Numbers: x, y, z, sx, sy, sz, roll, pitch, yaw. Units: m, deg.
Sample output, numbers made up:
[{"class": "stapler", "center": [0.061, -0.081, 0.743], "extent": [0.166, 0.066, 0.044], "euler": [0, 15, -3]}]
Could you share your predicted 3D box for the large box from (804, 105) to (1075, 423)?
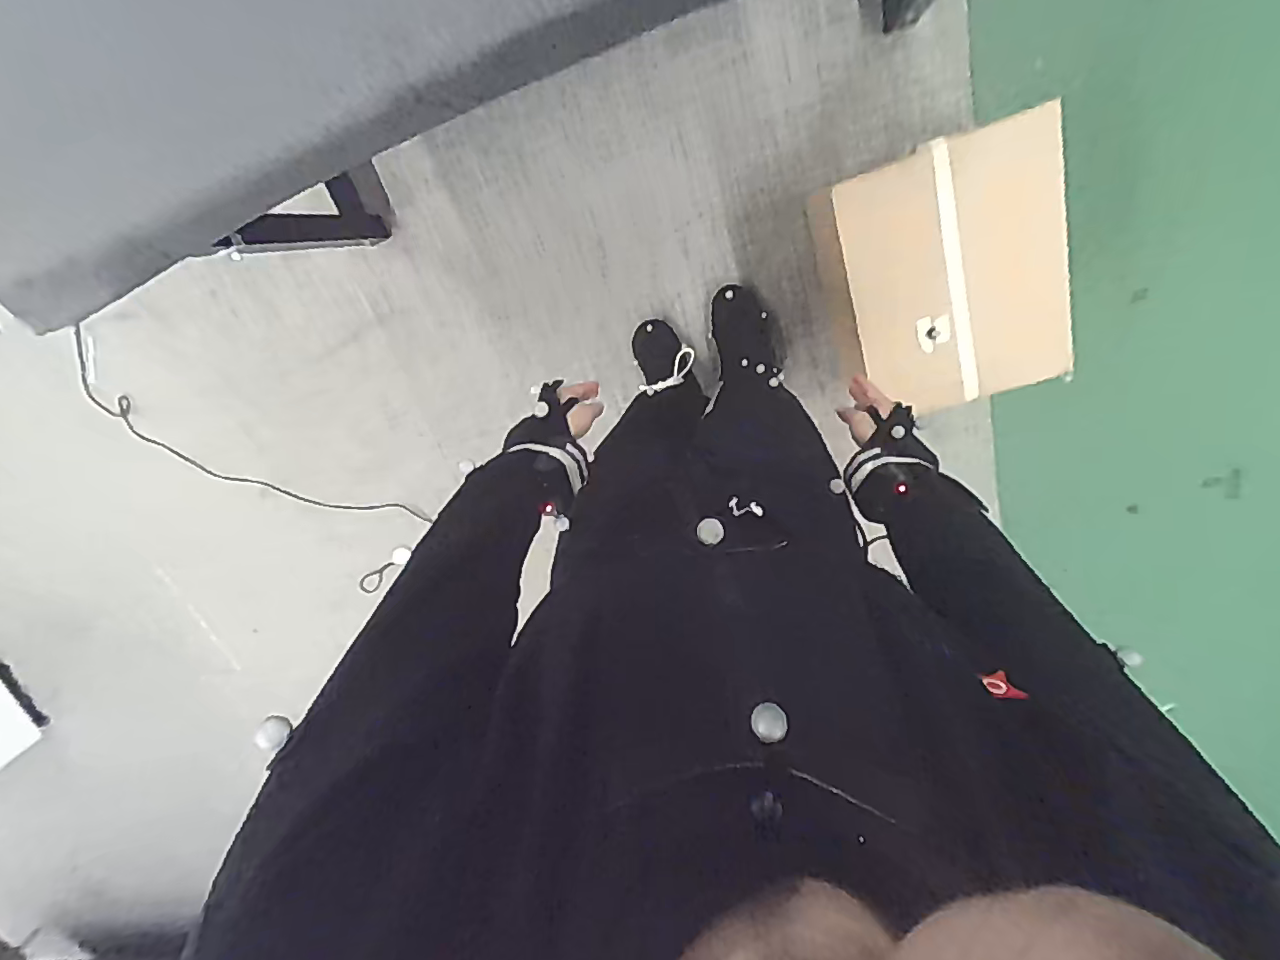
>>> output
[{"class": "large box", "center": [0.521, -0.374, 0.990], "extent": [0.320, 0.320, 0.408], "euler": [-16, 112, 16]}]
